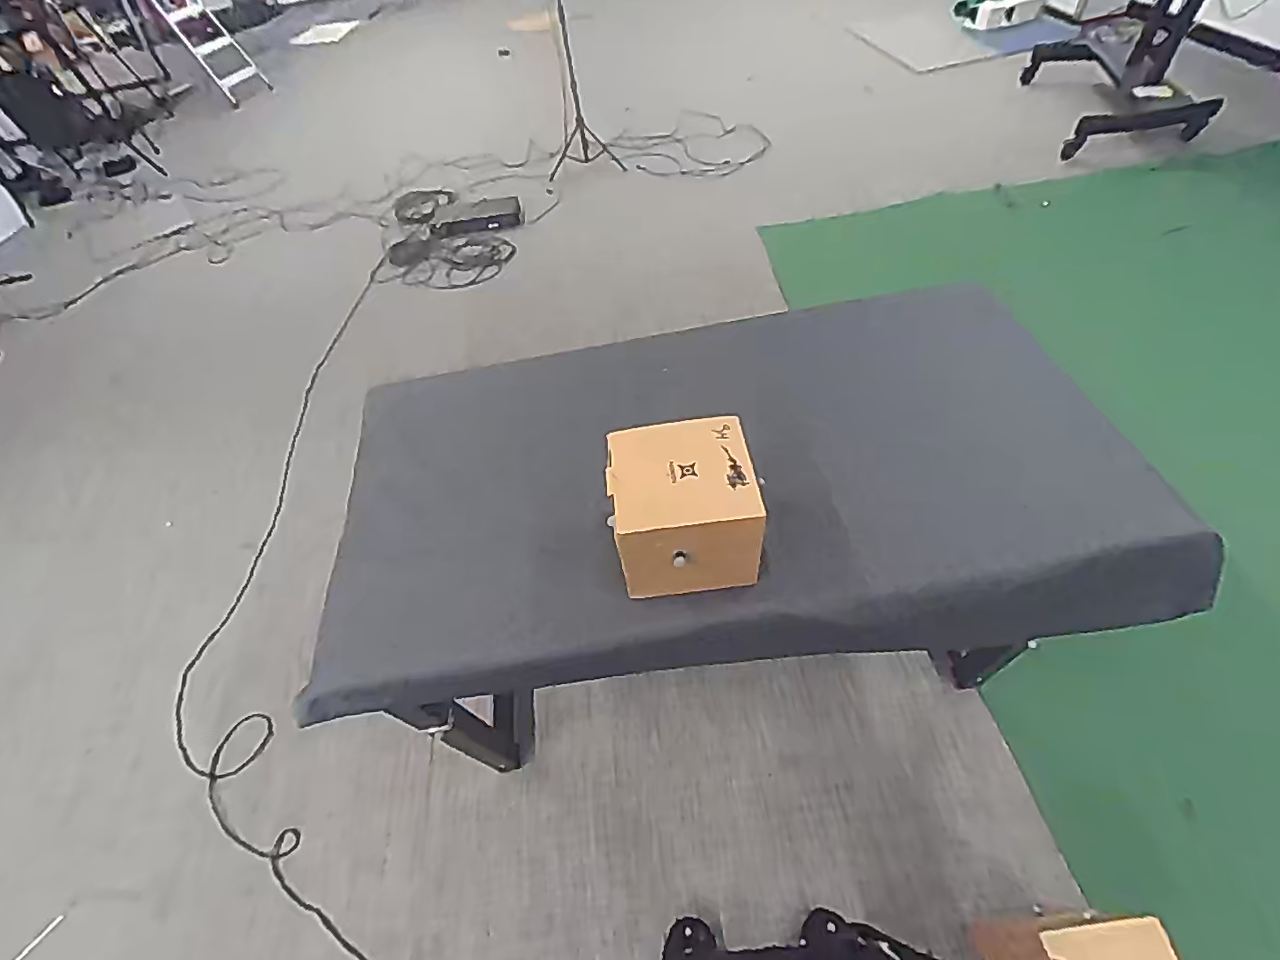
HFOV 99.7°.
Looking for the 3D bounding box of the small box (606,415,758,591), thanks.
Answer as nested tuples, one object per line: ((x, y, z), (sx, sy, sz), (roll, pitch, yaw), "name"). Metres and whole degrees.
((0.054, 0.037, 0.728), (0.179, 0.176, 0.168), (-7, 52, 2), "small box")

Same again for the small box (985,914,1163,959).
((0.670, 0.768, 0.814), (0.179, 0.176, 0.168), (-8, 51, 2), "small box")

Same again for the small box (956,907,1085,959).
((0.698, 0.865, 0.945), (0.179, 0.176, 0.168), (-11, 52, 1), "small box")
